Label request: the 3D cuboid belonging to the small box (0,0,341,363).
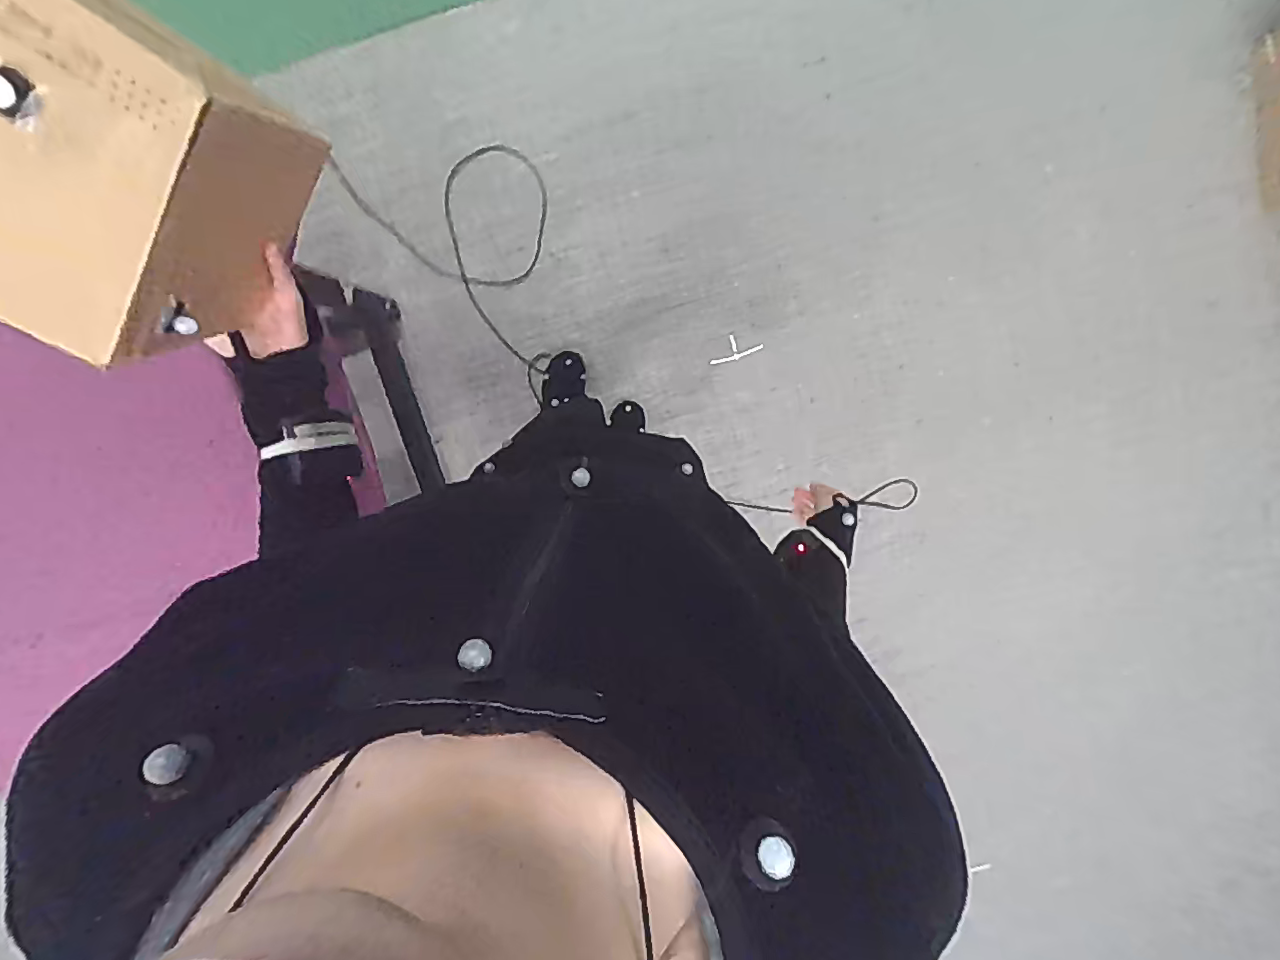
[{"bbox_3d":[-0.322,-0.205,0.335,0.168,0.179,0.176,31,107,-21],"label":"small box"}]
